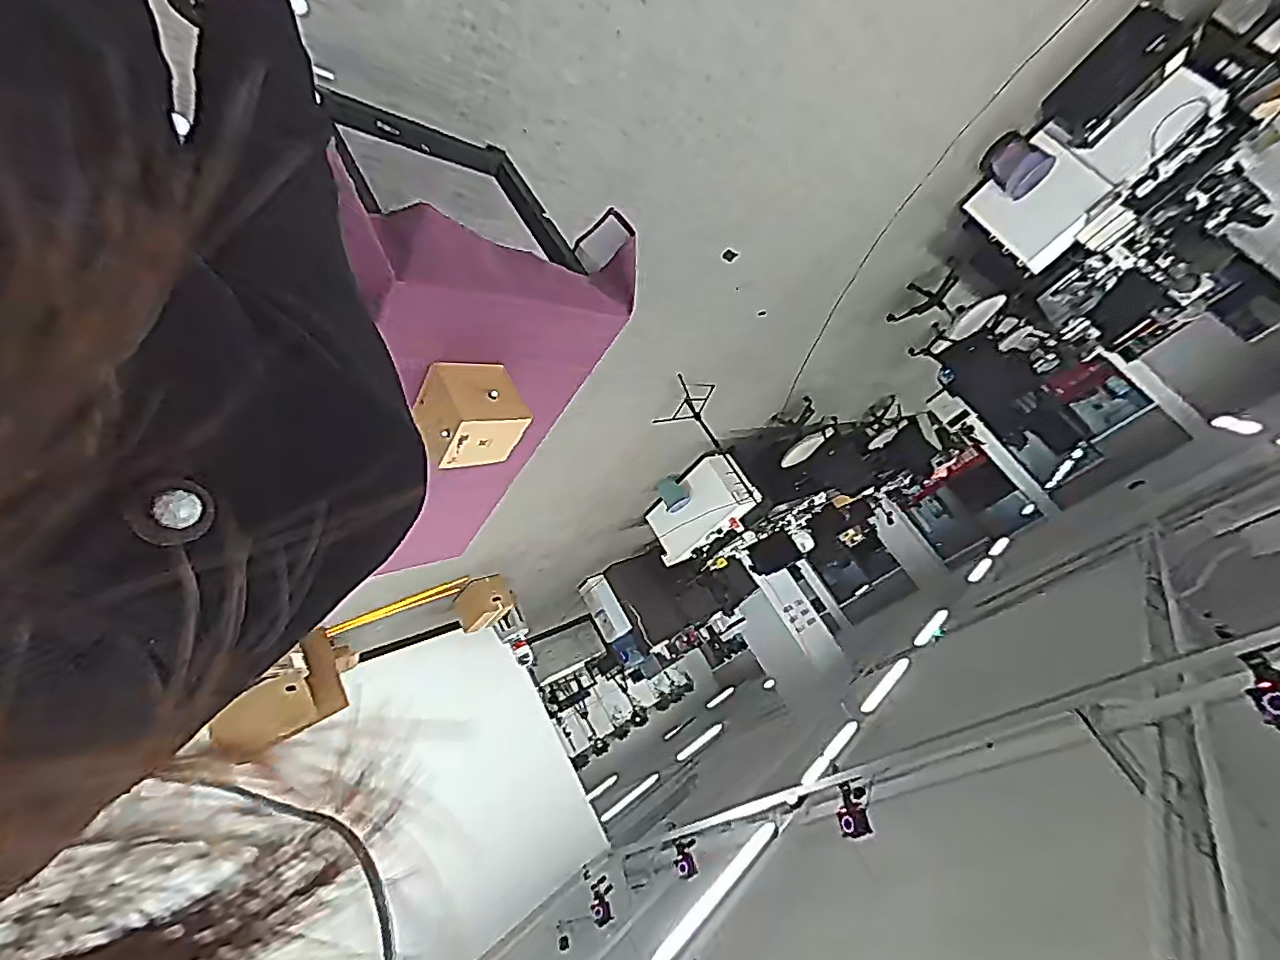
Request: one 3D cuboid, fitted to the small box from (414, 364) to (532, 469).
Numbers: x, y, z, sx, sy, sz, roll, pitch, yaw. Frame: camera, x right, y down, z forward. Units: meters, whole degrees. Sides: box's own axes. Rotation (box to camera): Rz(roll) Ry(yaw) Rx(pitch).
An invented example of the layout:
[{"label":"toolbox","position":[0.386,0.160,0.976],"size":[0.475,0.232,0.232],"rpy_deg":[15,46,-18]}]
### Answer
[{"label":"small box","position":[-0.384,-0.149,1.235],"size":[0.179,0.176,0.168],"rpy_deg":[-12,152,-46]}]
